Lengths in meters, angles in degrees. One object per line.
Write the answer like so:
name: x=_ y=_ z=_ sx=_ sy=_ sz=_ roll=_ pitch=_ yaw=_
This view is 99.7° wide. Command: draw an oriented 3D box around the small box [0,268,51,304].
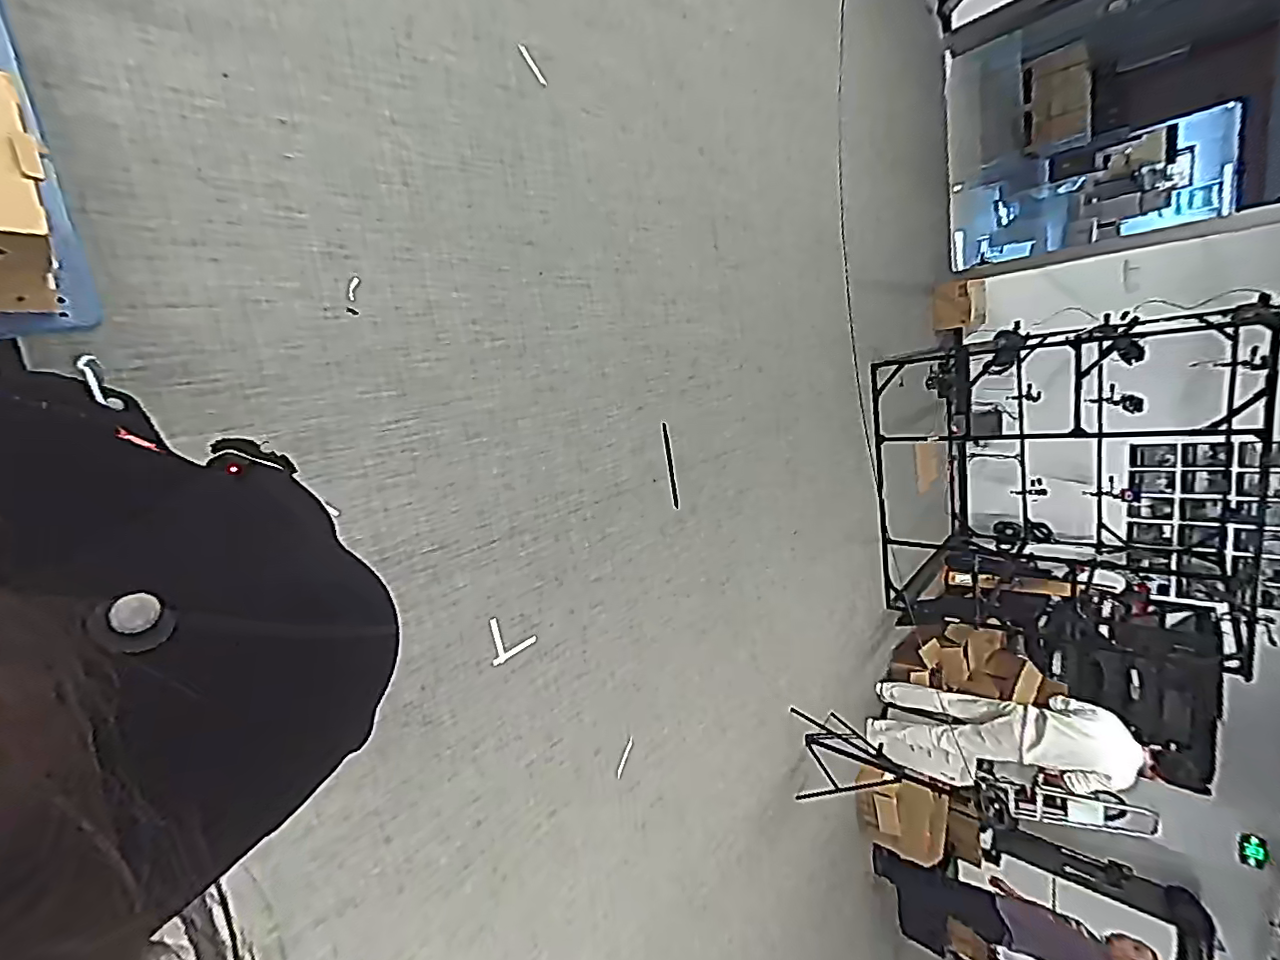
small box: x=-0.884 y=-0.331 z=0.679 sx=0.168 sy=0.176 sz=0.179 roll=-17 pitch=104 yaw=-45

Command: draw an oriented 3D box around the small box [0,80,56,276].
small box: x=-0.761 y=-0.325 z=0.572 sx=0.179 sy=0.176 sz=0.168 roll=-12 pitch=99 yaw=-45
